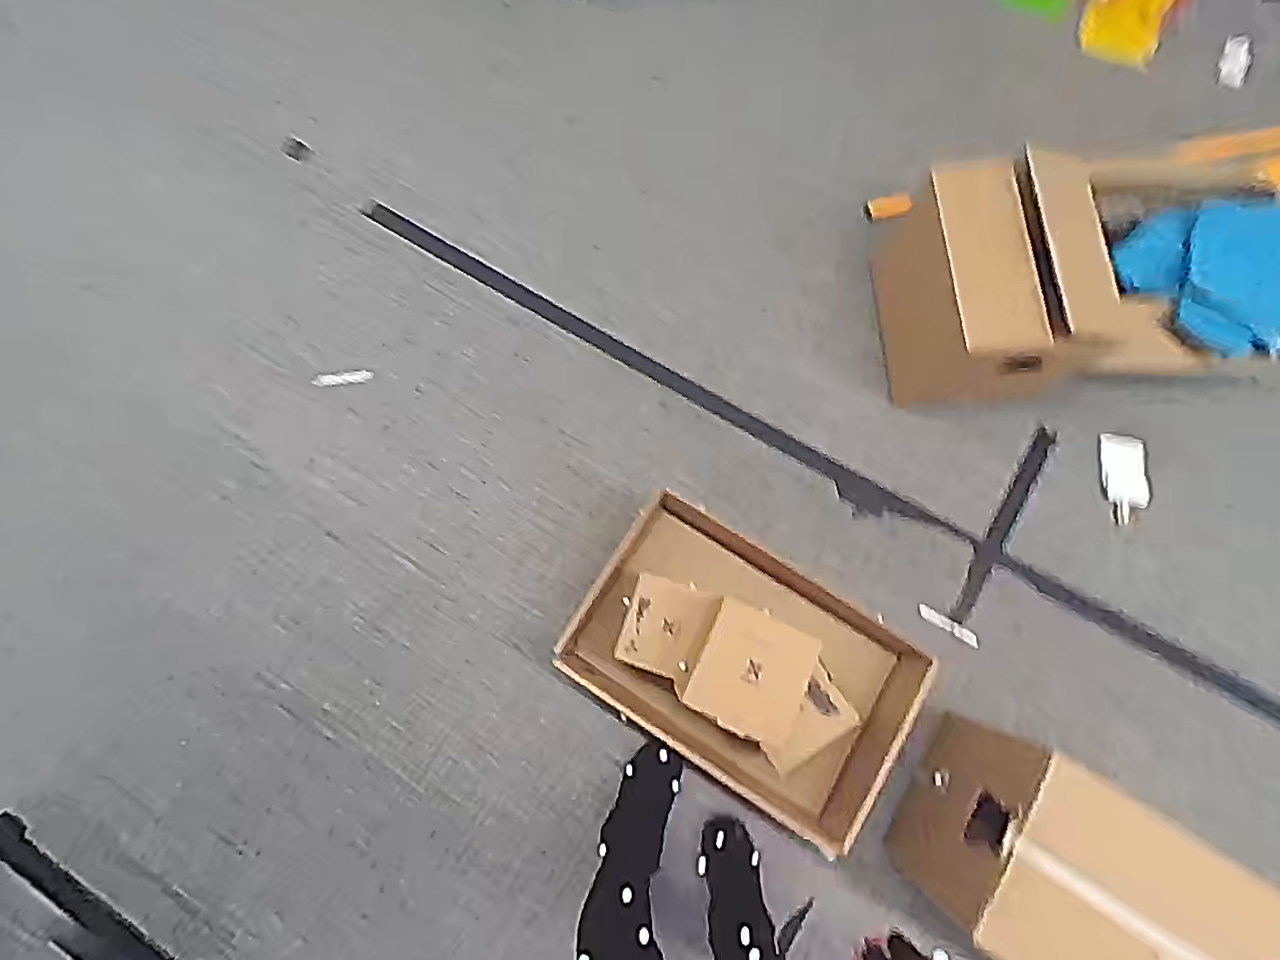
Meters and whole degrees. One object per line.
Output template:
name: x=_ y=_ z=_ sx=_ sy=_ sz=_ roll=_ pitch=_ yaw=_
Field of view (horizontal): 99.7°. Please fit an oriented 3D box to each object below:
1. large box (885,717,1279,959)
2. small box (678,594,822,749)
large box: x=0.733 y=0.687 z=0.949 sx=0.408 sy=0.320 sz=0.320 roll=32 pitch=80 yaw=6
small box: x=0.170 y=0.303 z=0.891 sx=0.168 sy=0.176 sz=0.179 roll=25 pitch=77 yaw=5
